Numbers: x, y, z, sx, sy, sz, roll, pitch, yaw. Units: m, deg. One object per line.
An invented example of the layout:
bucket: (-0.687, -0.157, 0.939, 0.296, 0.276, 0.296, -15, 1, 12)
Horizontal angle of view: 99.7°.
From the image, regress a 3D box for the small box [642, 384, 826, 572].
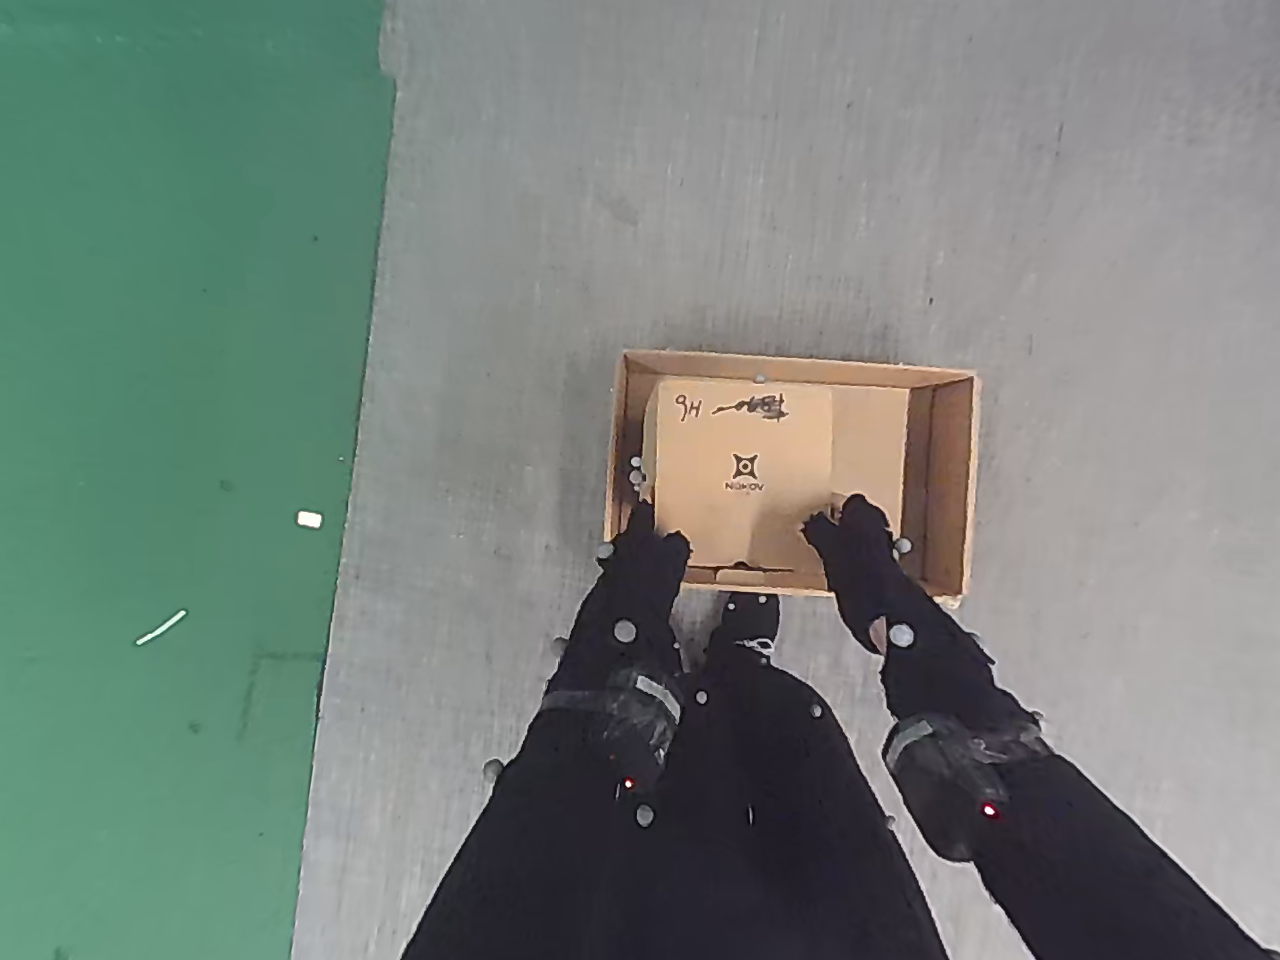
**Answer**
small box: (0.090, -0.002, 0.592, 0.168, 0.176, 0.179, 2, 89, -2)
